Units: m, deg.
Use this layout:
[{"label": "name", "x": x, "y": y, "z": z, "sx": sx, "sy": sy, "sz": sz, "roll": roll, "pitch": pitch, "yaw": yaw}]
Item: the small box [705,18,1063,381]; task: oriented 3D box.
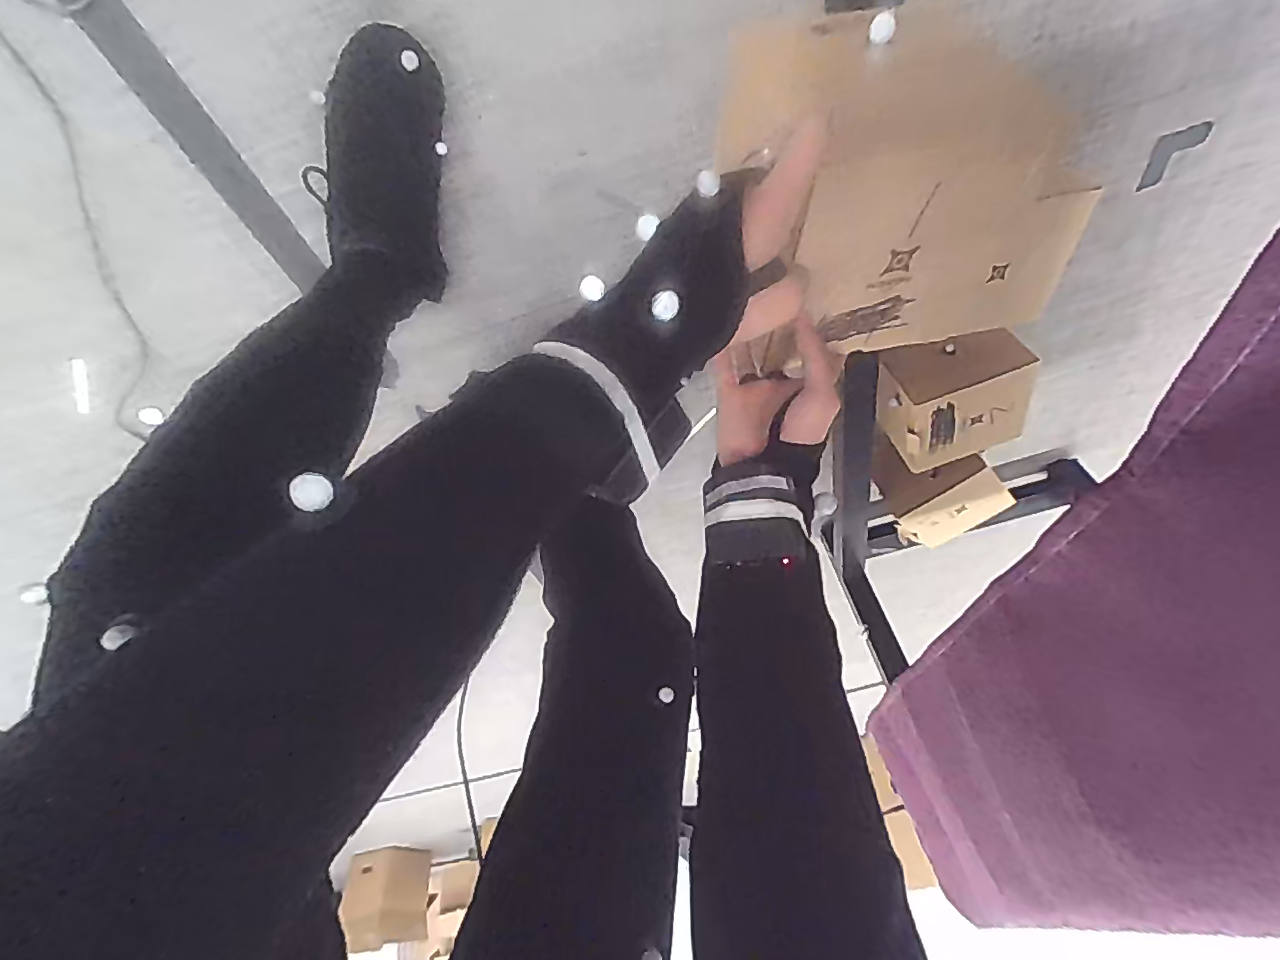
[{"label": "small box", "x": 0.154, "y": -0.208, "z": 0.419, "sx": 0.168, "sy": 0.176, "sz": 0.179, "roll": -13, "pitch": 151, "yaw": -5}]
